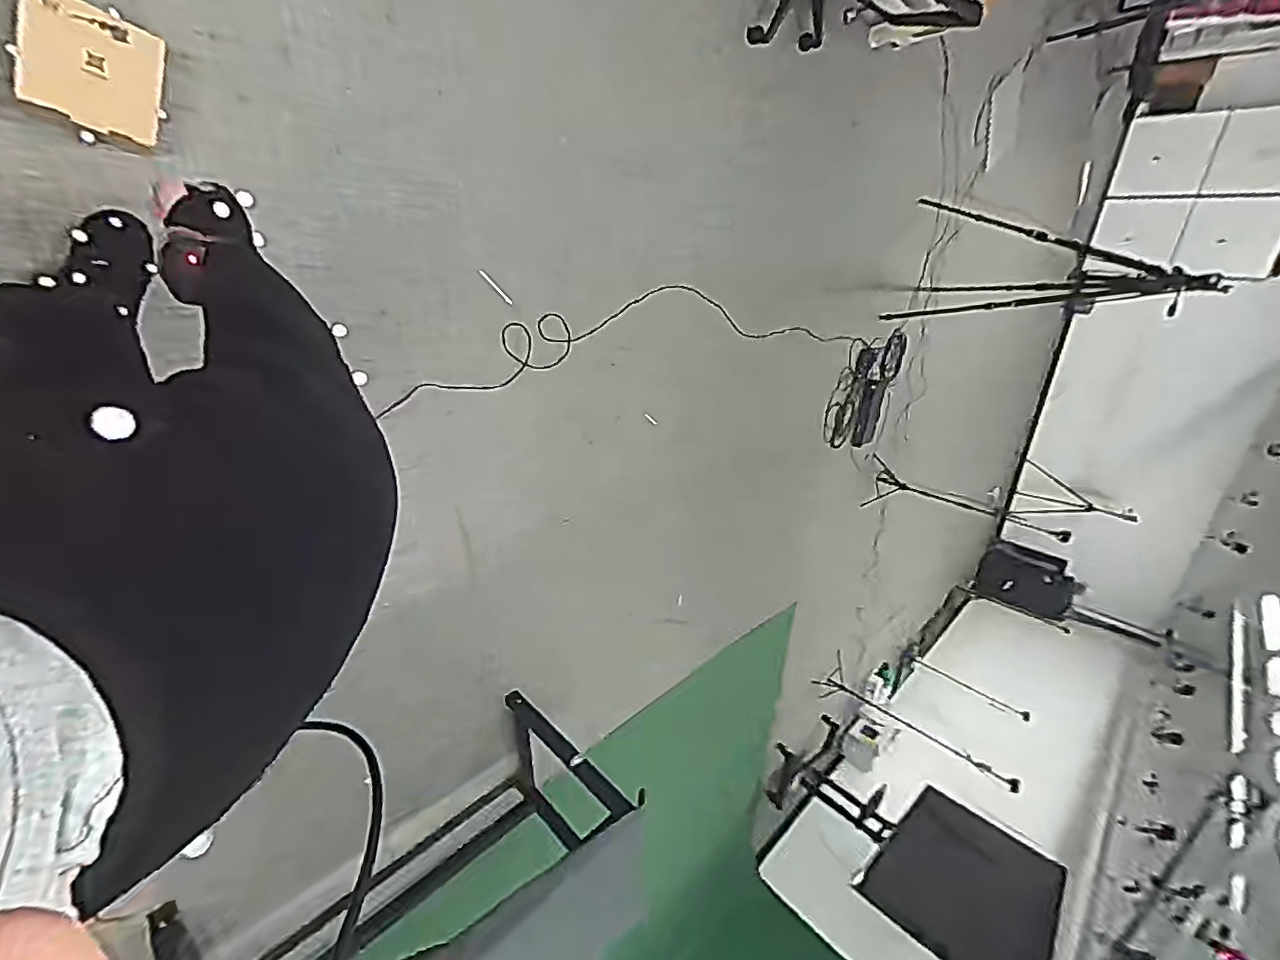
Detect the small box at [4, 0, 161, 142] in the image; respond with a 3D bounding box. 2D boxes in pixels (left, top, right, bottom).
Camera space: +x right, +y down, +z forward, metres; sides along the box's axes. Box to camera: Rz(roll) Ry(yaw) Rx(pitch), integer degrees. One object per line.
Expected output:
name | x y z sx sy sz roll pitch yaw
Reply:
small box | -0.934 -0.702 0.912 0.168 0.176 0.179 5 106 -47
